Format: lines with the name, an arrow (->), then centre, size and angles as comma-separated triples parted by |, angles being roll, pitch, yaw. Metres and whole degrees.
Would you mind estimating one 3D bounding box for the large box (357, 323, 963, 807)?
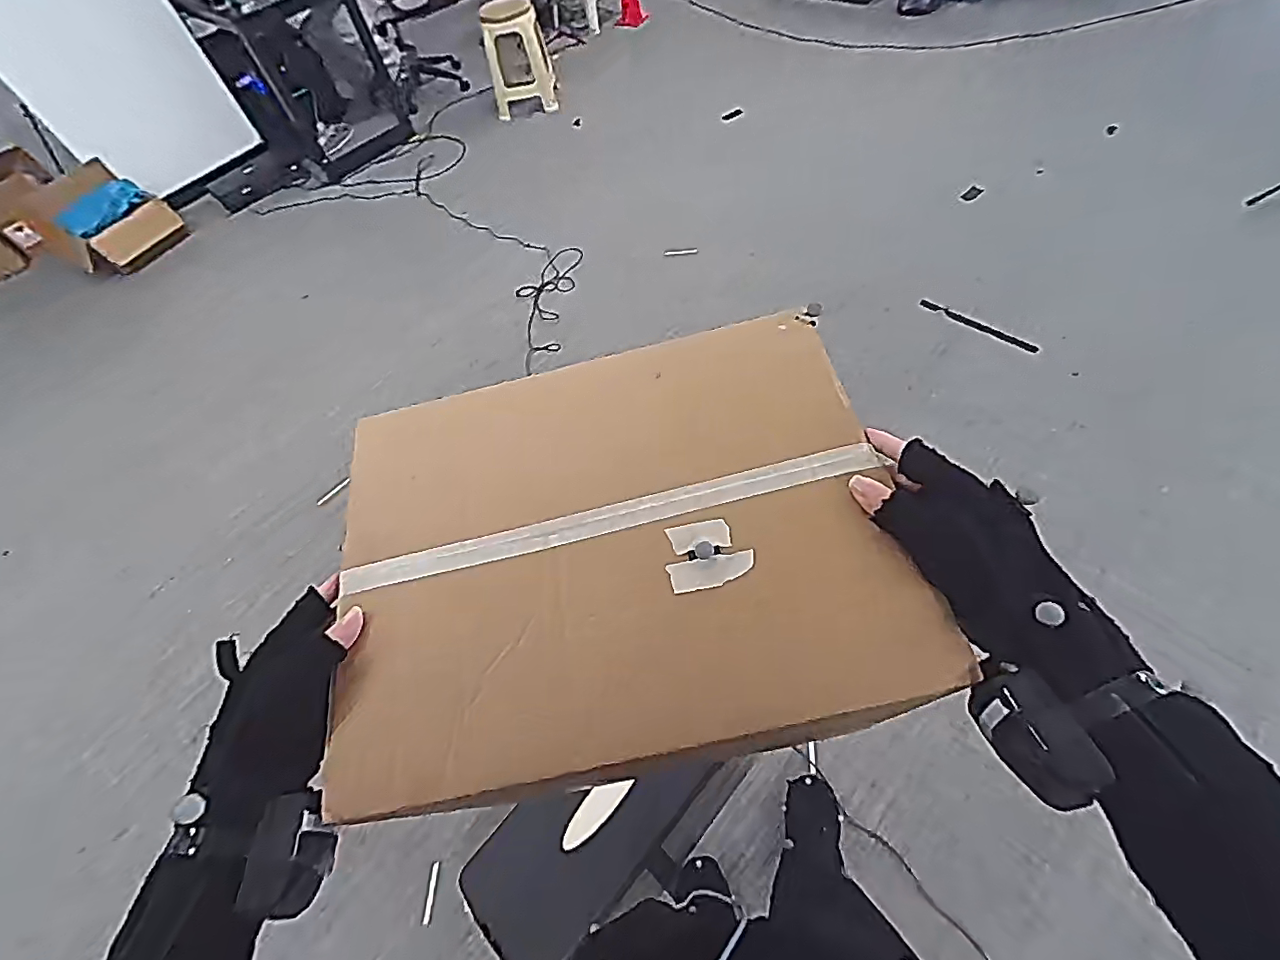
large box -> 0.003, 0.106, 0.541 | 0.408, 0.320, 0.320 | -13, 61, 2
